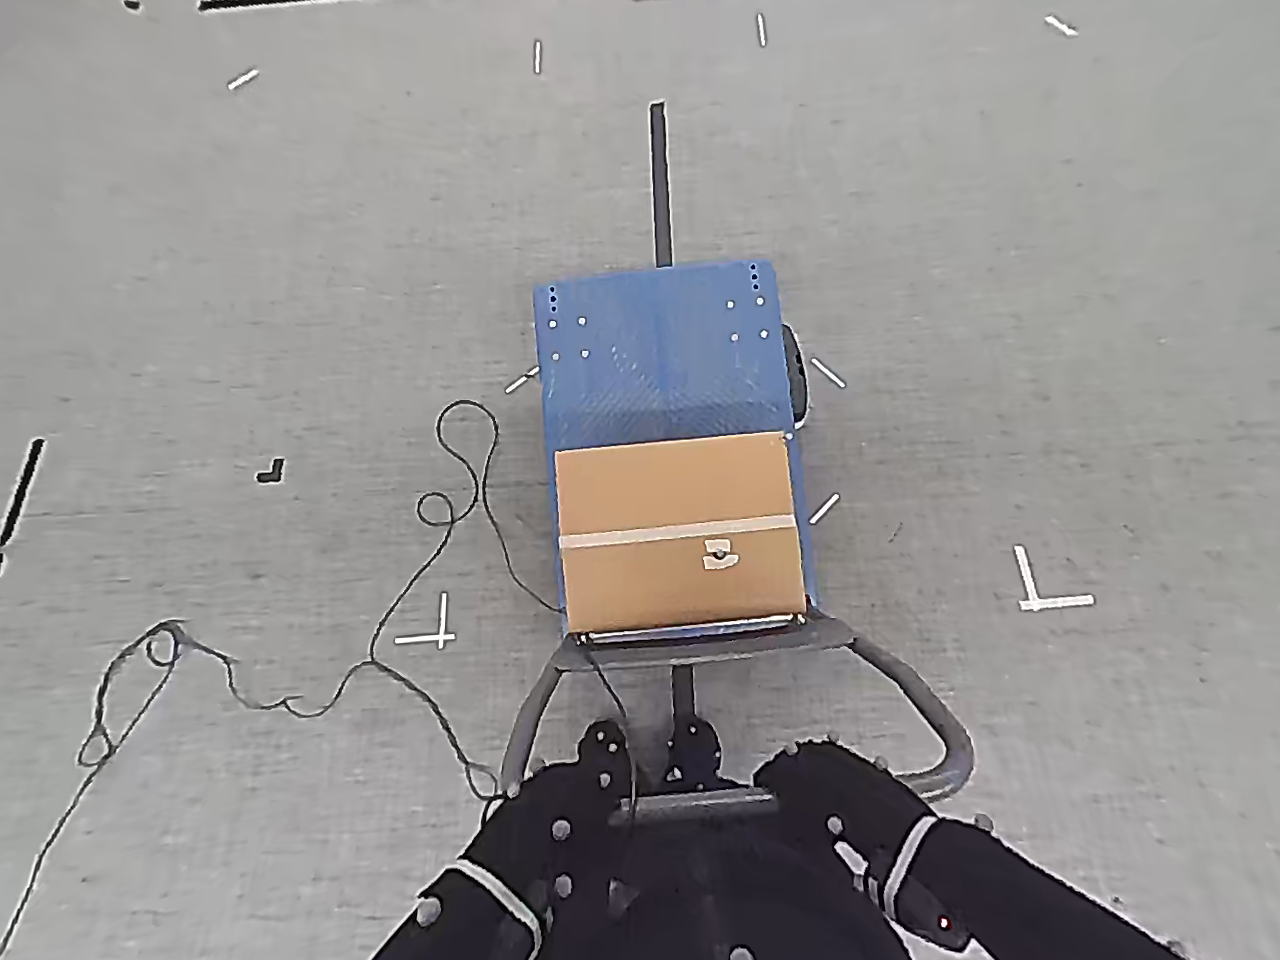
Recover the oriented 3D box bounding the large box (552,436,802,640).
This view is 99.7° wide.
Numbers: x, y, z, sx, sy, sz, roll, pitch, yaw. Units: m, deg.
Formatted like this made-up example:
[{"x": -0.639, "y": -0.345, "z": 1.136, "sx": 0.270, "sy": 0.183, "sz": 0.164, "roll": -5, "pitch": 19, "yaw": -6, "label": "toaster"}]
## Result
[{"x": 0.061, "y": 0.112, "z": 1.066, "sx": 0.408, "sy": 0.320, "sz": 0.320, "roll": -5, "pitch": 85, "yaw": 0, "label": "large box"}]
